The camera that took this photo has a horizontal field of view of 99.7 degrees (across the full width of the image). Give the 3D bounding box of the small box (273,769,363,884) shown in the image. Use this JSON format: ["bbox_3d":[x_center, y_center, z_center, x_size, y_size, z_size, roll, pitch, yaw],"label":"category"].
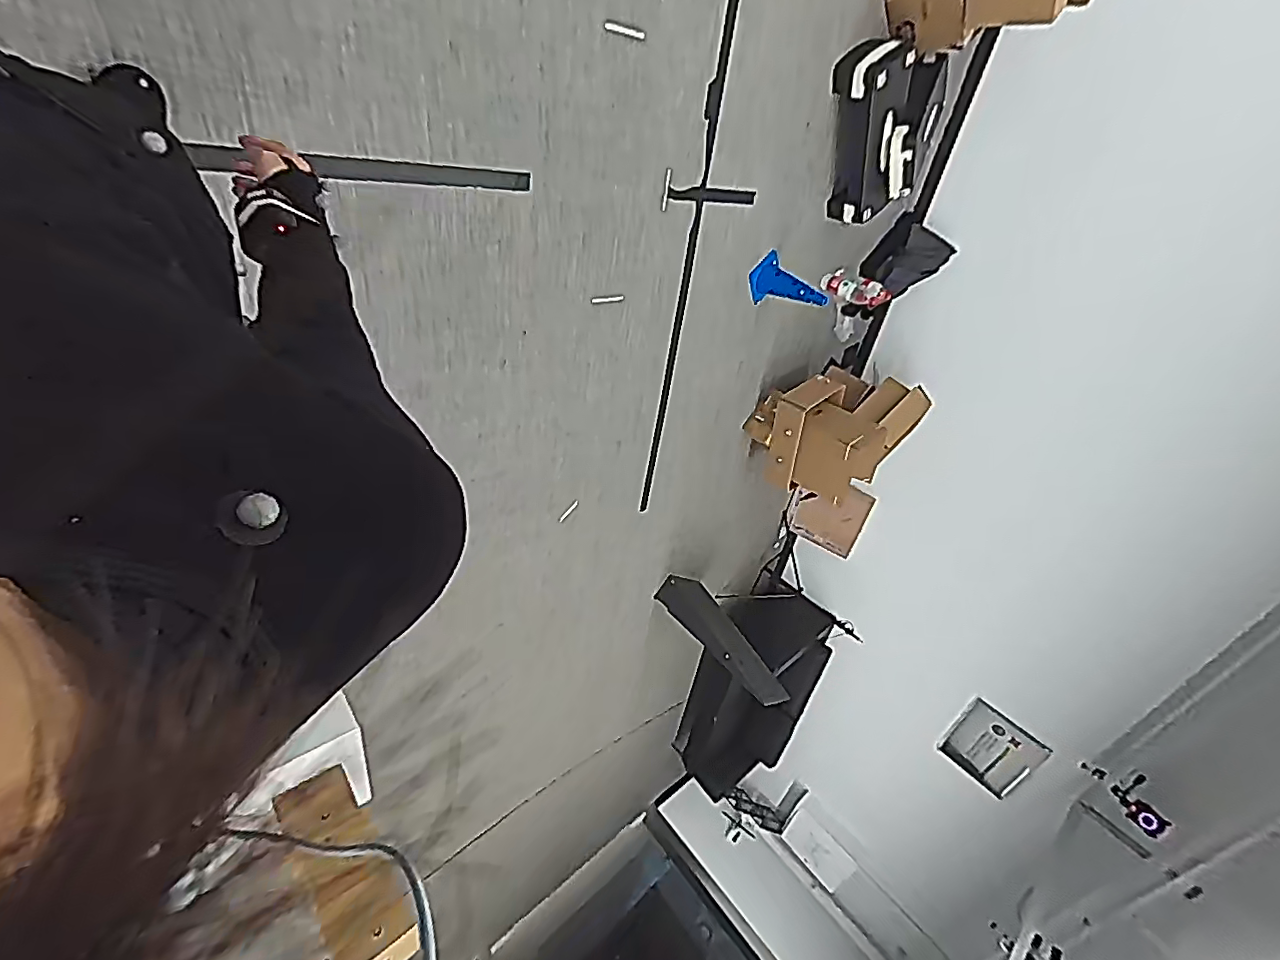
[{"bbox_3d":[-0.877,0.940,1.483,0.179,0.176,0.168,-17,132,-39],"label":"small box"}]

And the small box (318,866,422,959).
[{"bbox_3d":[-0.647,1.087,1.302,0.179,0.176,0.168,-18,133,-39],"label":"small box"}]

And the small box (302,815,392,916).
[{"bbox_3d":[-0.758,1.017,1.402,0.168,0.176,0.179,-16,132,-41],"label":"small box"}]
